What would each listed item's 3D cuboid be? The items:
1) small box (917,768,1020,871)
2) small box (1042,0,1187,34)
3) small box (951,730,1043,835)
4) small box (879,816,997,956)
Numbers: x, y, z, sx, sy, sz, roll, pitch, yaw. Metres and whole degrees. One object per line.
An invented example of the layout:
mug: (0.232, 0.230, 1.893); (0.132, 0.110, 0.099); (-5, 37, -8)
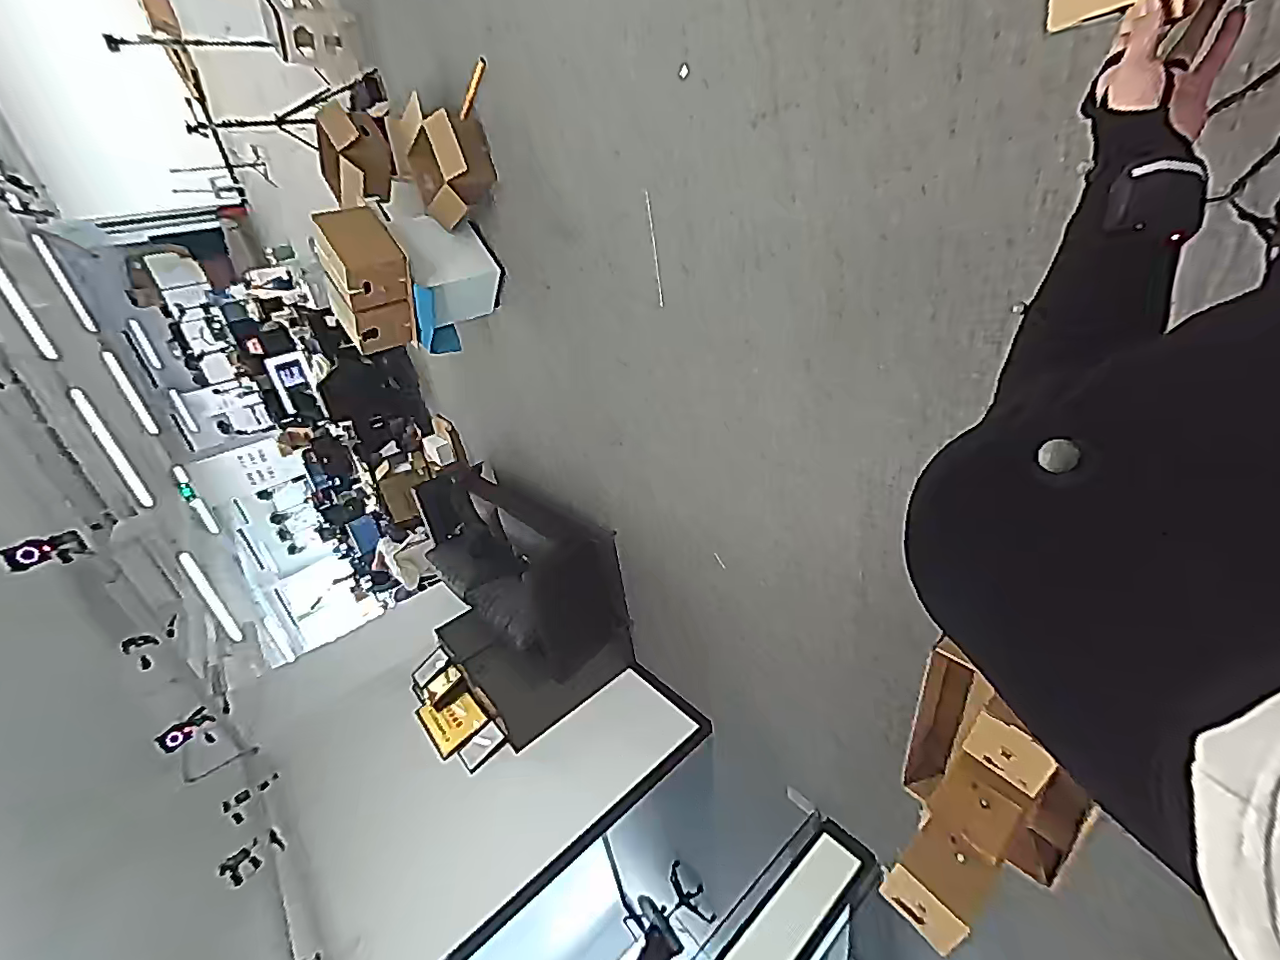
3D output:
small box: (0.817, 0.875, 1.354); (0.168, 0.176, 0.179); (25, 130, 45)
small box: (0.482, -0.510, 0.445); (0.168, 0.176, 0.179); (41, 149, 56)
small box: (0.939, 0.817, 1.442); (0.168, 0.176, 0.179); (24, 131, 44)
small box: (0.696, 0.942, 1.265); (0.168, 0.176, 0.179); (34, 136, 38)
